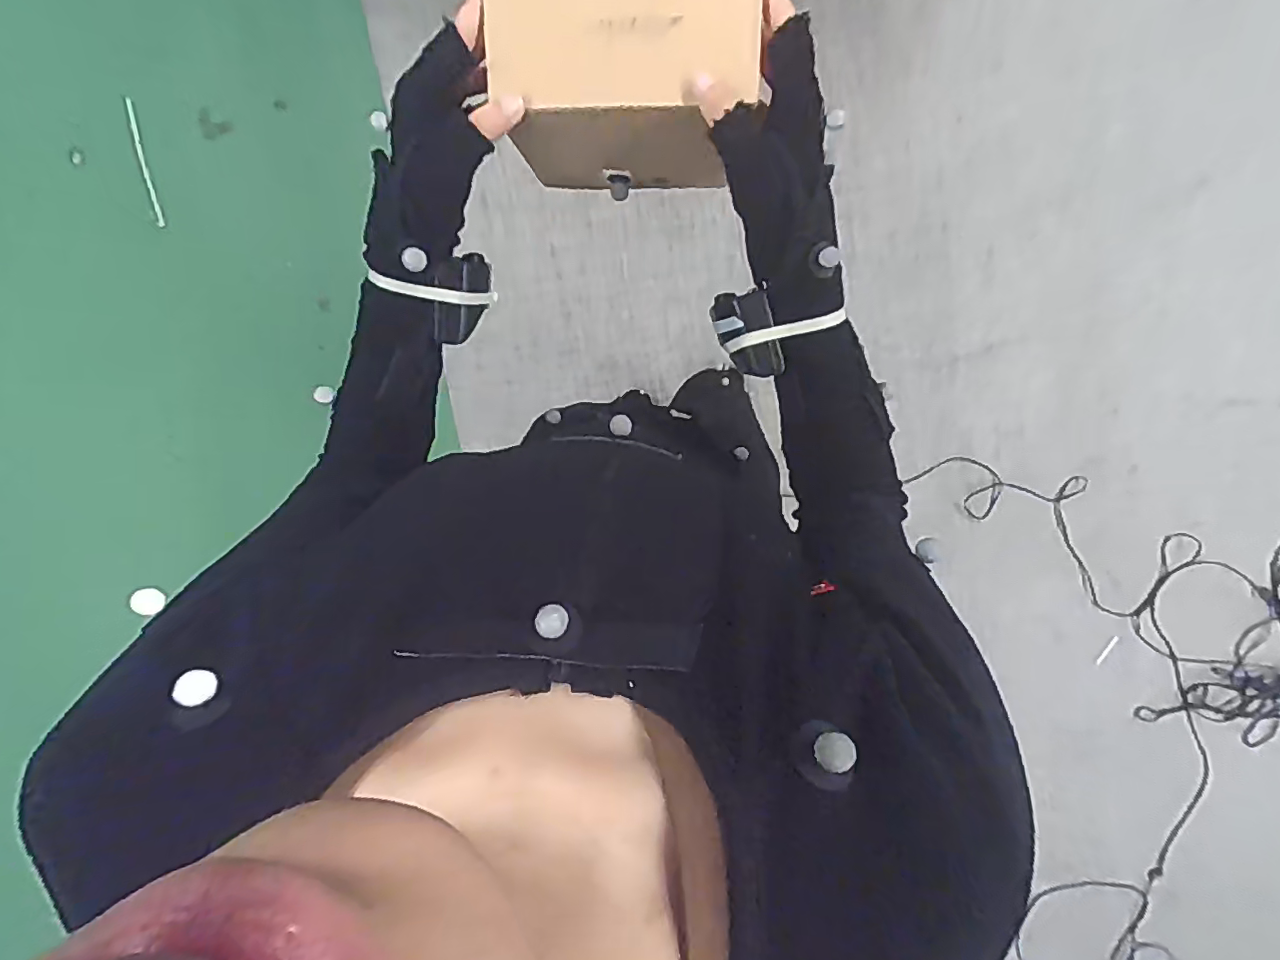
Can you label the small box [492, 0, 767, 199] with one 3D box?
[{"bbox_3d":[-0.004,-0.325,0.392,0.168,0.176,0.179,1,102,2],"label":"small box"}]
